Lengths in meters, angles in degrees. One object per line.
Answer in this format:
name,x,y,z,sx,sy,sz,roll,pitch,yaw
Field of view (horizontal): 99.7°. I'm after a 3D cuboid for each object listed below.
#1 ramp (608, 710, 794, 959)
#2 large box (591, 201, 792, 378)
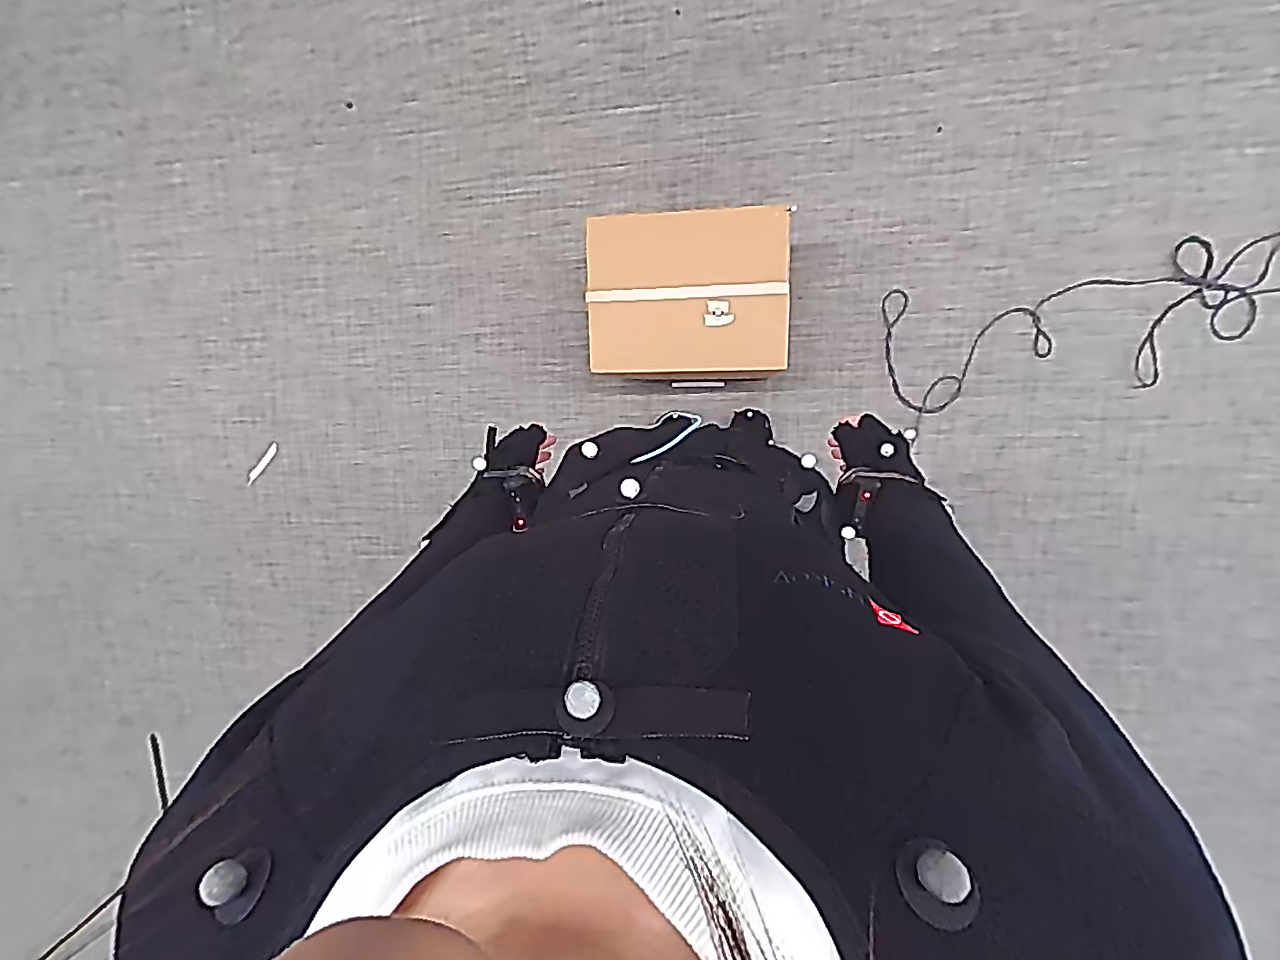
ramp,0.159,1.165,1.499,0.509,0.206,0.991,1,97,10
large box,0.119,-0.404,1.233,0.408,0.320,0.320,0,99,8
